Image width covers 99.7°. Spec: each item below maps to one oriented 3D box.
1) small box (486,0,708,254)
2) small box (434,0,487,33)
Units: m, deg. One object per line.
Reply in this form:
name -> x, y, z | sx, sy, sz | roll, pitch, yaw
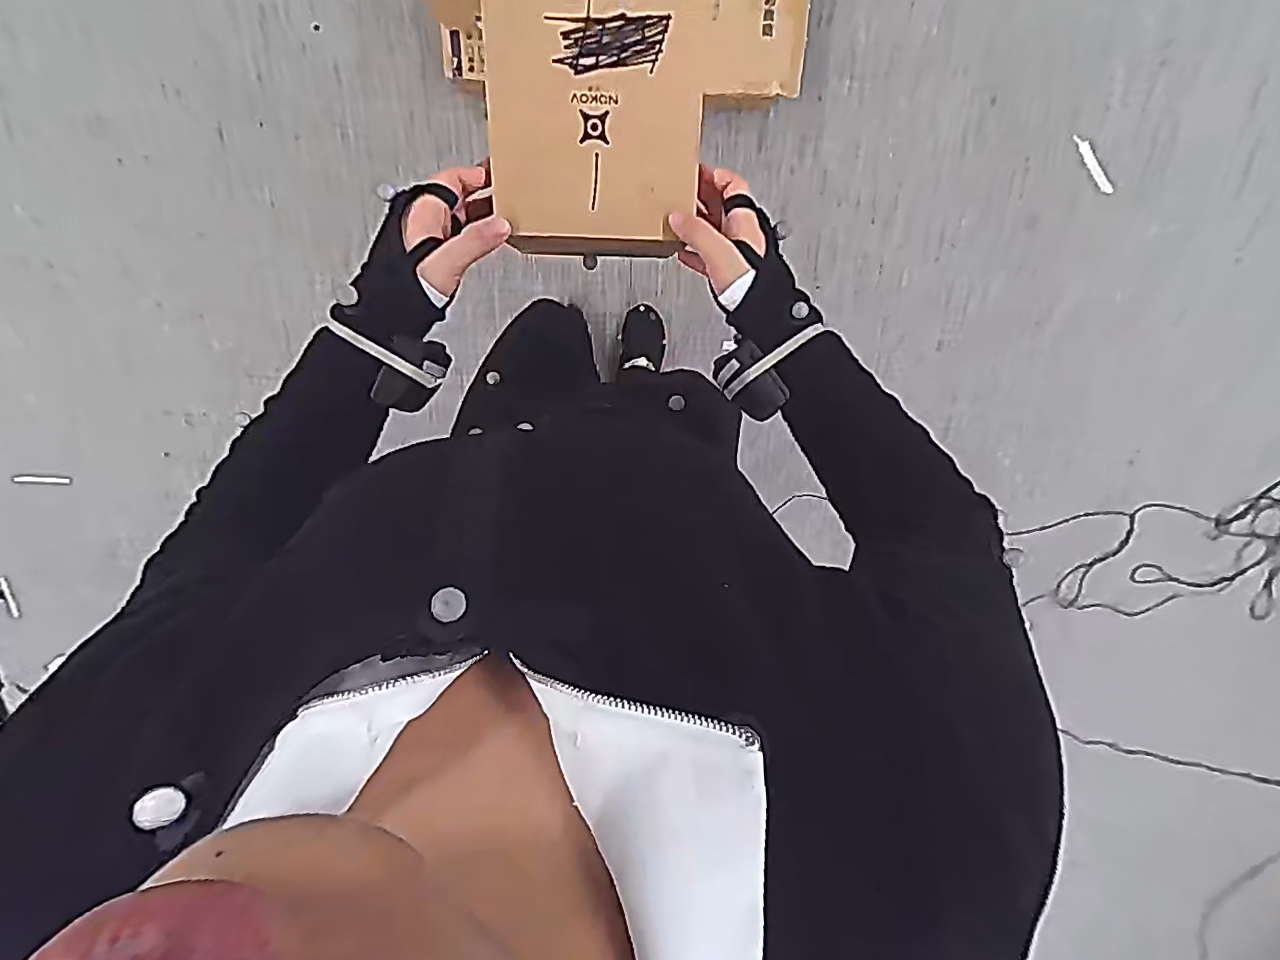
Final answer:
small box -> -0.041, -0.310, 0.492 | 0.168, 0.176, 0.179 | 0, 109, -5
small box -> -0.299, -0.953, 0.980 | 0.168, 0.176, 0.179 | 2, 109, -1
